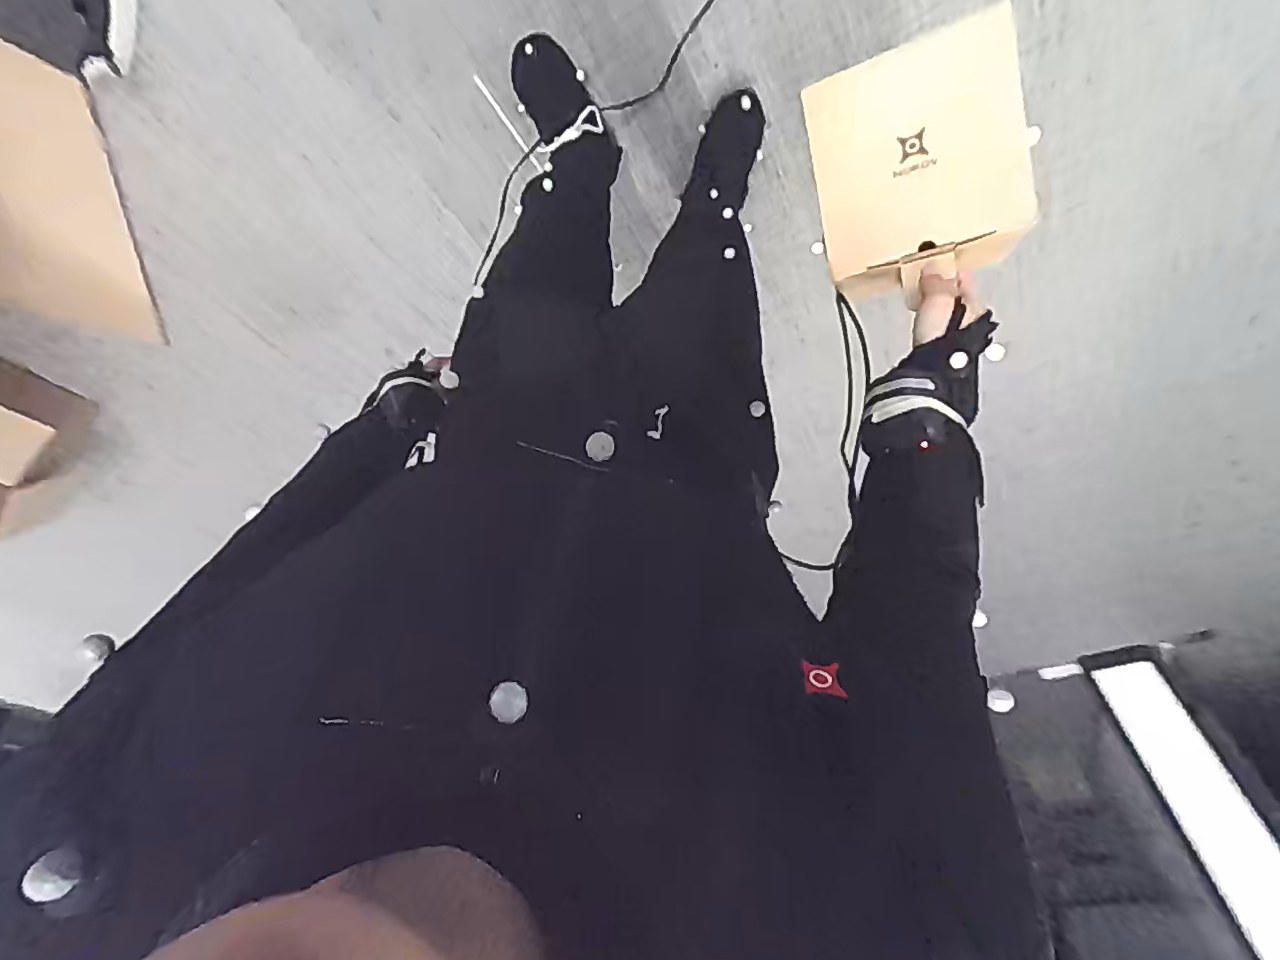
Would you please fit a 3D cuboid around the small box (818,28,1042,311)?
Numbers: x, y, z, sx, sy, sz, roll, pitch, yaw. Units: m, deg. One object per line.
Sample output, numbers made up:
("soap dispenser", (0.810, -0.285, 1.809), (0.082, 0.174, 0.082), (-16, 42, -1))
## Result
("small box", (0.282, -0.290, 0.555), (0.168, 0.176, 0.179), (-8, 94, 23))
